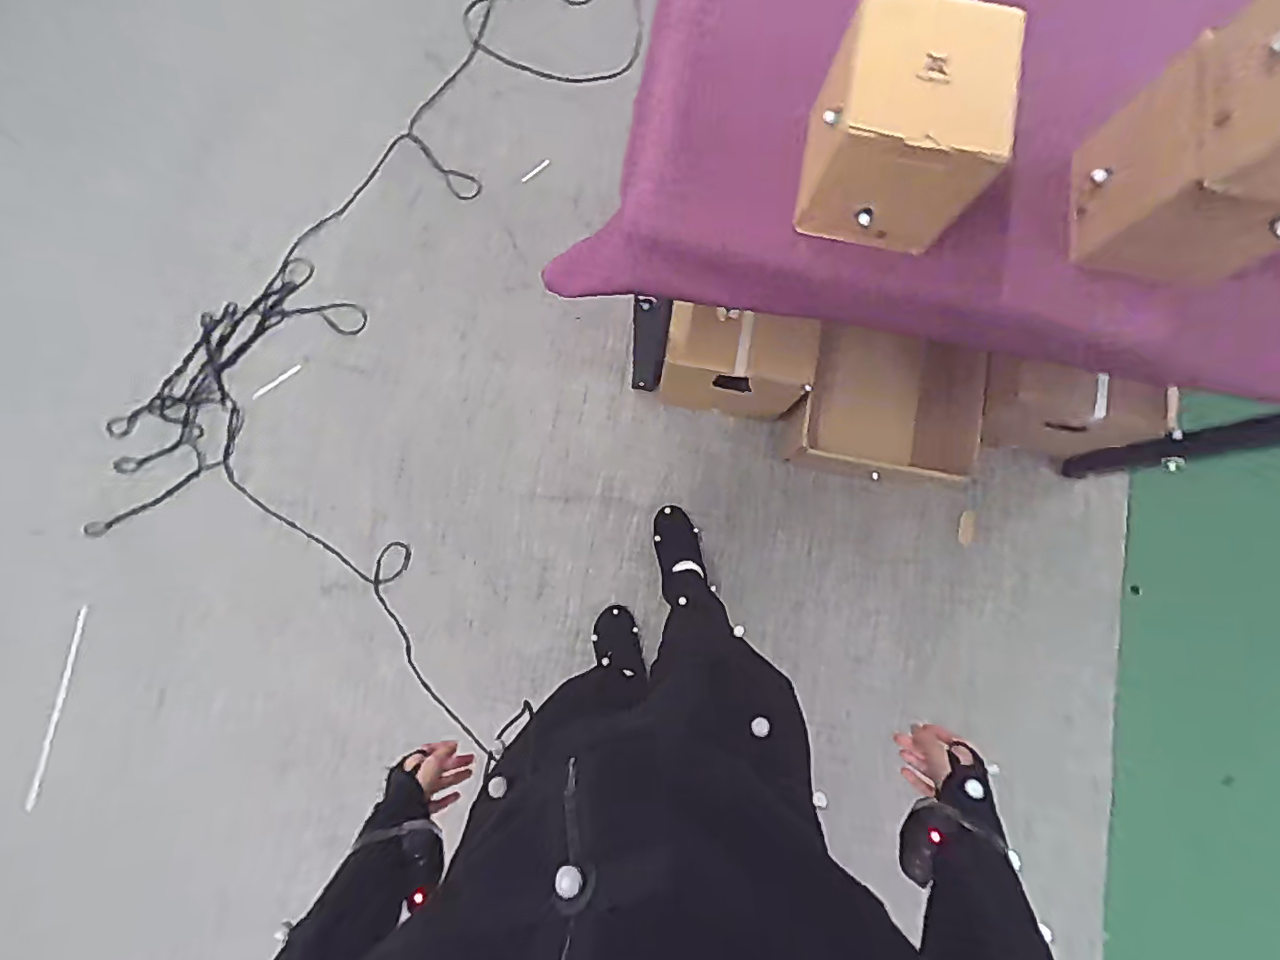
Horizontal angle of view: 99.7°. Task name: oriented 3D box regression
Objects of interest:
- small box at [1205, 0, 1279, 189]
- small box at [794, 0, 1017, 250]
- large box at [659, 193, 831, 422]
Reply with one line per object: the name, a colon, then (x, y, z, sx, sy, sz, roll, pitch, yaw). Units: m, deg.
small box: (0.631, -0.362, 0.448, 0.179, 0.176, 0.168, 8, 81, 1)
small box: (0.287, -0.399, 0.617, 0.168, 0.176, 0.179, 10, 82, 0)
large box: (0.231, -0.384, 1.283, 0.320, 0.320, 0.408, 10, 83, 1)
